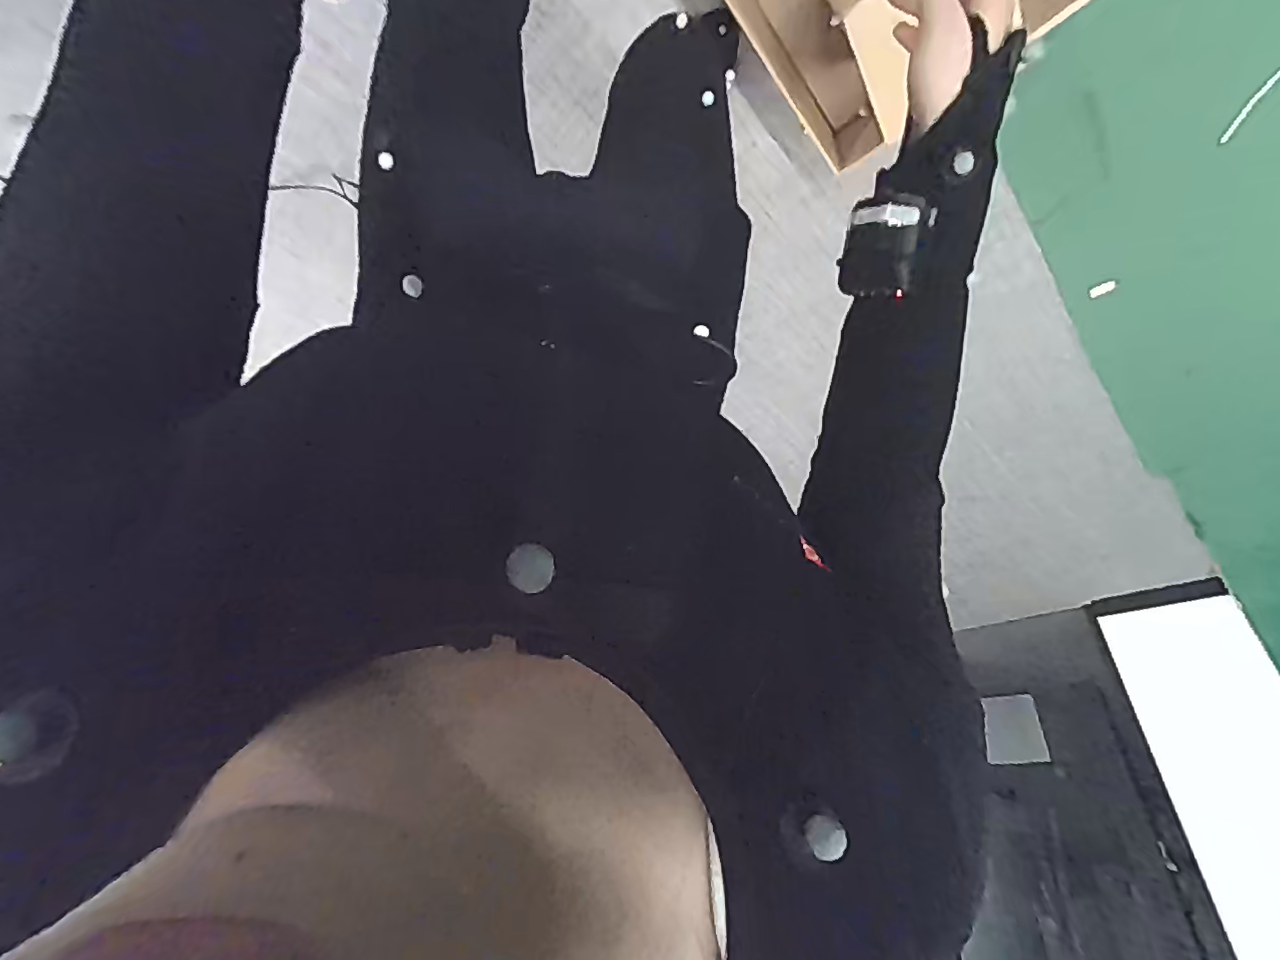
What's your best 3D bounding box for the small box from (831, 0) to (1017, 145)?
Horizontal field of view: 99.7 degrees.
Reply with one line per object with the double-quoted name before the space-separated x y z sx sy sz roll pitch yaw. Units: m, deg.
"small box" 0.354 -0.587 0.690 0.168 0.176 0.179 -19 137 32
